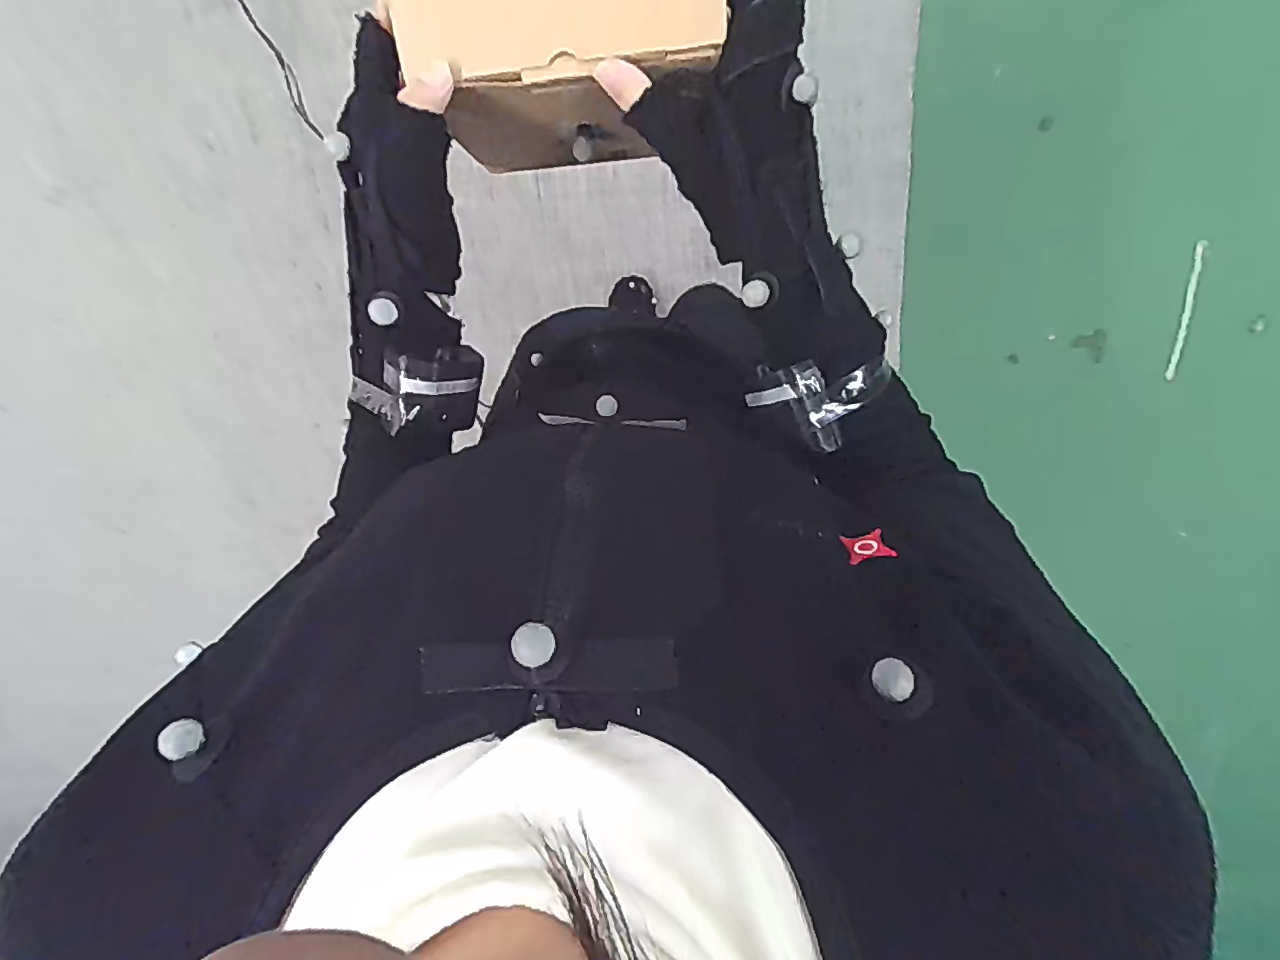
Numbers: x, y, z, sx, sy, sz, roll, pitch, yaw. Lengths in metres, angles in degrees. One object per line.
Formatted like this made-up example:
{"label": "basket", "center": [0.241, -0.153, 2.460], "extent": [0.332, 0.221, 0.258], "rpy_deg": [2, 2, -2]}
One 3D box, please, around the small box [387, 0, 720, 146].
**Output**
{"label": "small box", "center": [-0.046, -0.317, 0.320], "extent": [0.168, 0.176, 0.179], "rpy_deg": [-5, 108, 1]}

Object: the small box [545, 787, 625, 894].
{"label": "small box", "center": [-0.136, 0.935, 1.411], "extent": [0.179, 0.176, 0.168], "rpy_deg": [-6, 110, 3]}
